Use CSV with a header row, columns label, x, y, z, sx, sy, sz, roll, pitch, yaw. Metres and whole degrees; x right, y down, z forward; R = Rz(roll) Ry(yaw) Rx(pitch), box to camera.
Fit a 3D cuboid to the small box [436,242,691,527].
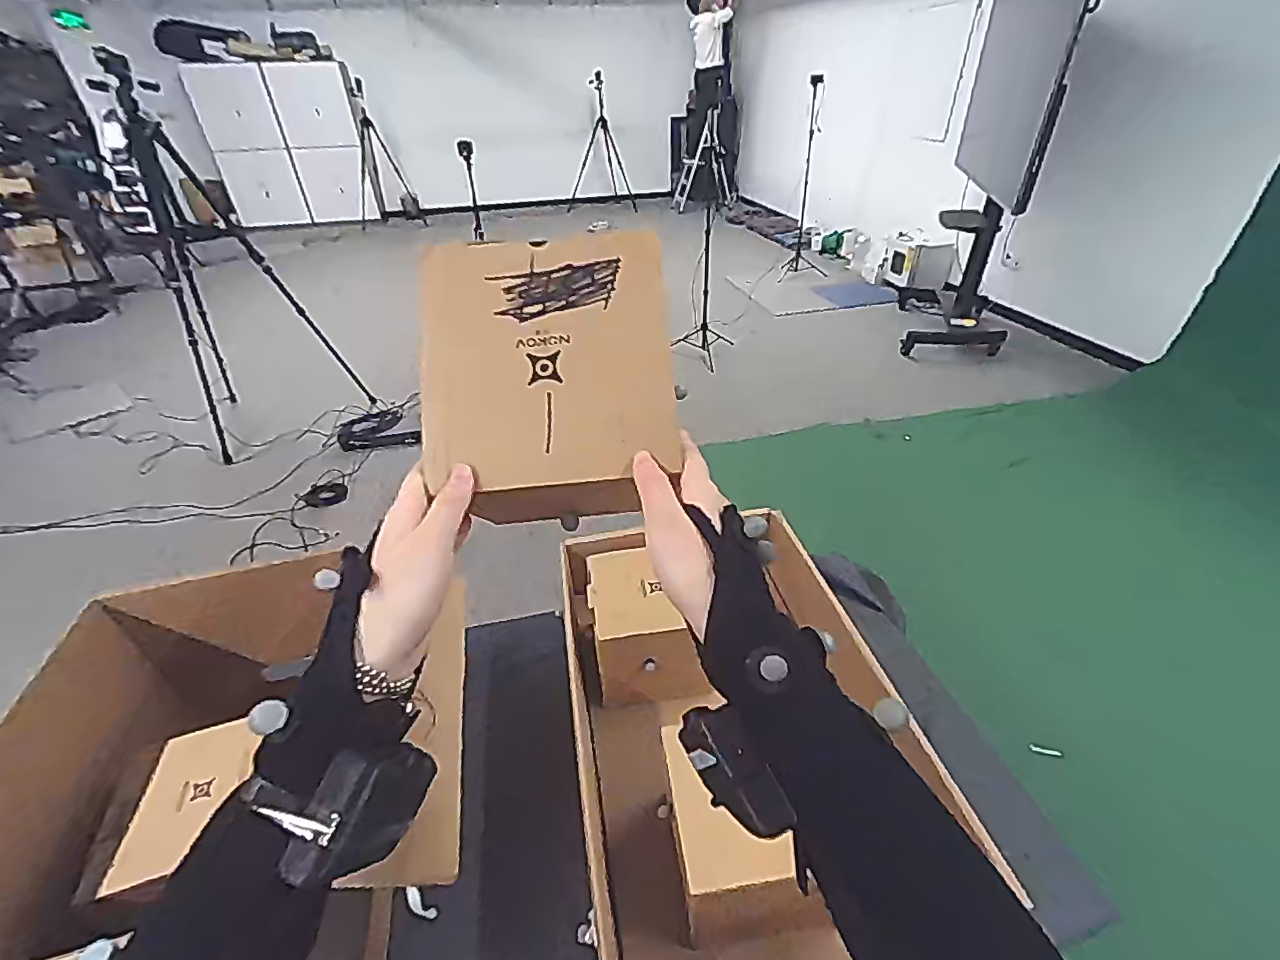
label,x,y,z,sx,sy,sz,roll,pitch,yaw
small box,-0.054,-0.062,0.439,0.168,0.176,0.179,-5,80,0
